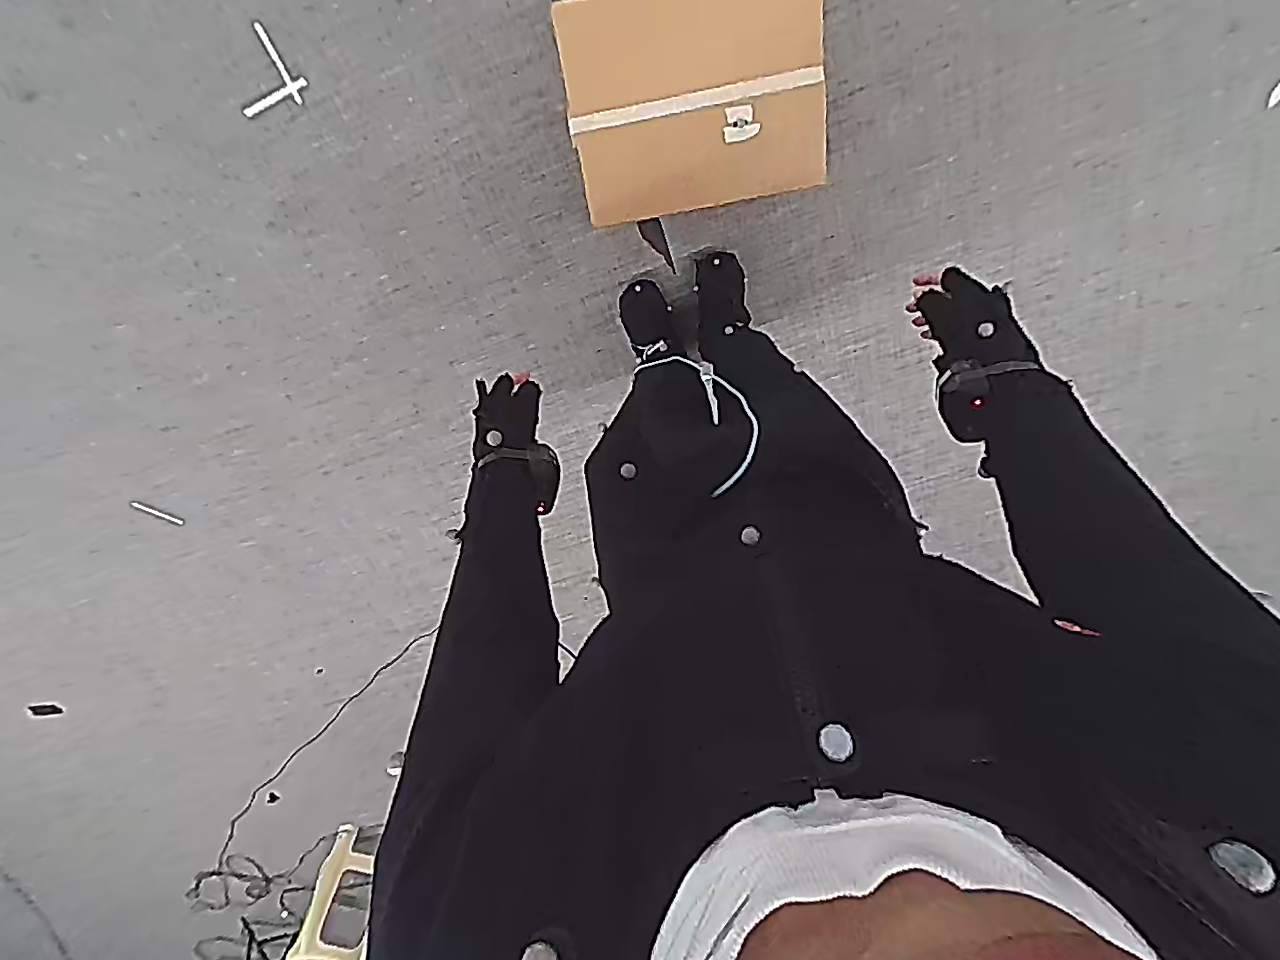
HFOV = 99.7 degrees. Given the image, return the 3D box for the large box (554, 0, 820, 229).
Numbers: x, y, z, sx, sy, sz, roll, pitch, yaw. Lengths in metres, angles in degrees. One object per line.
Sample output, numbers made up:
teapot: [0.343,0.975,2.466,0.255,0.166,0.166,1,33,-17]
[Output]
large box: [0.086,-0.680,1.011,0.408,0.320,0.320,-9,117,5]
